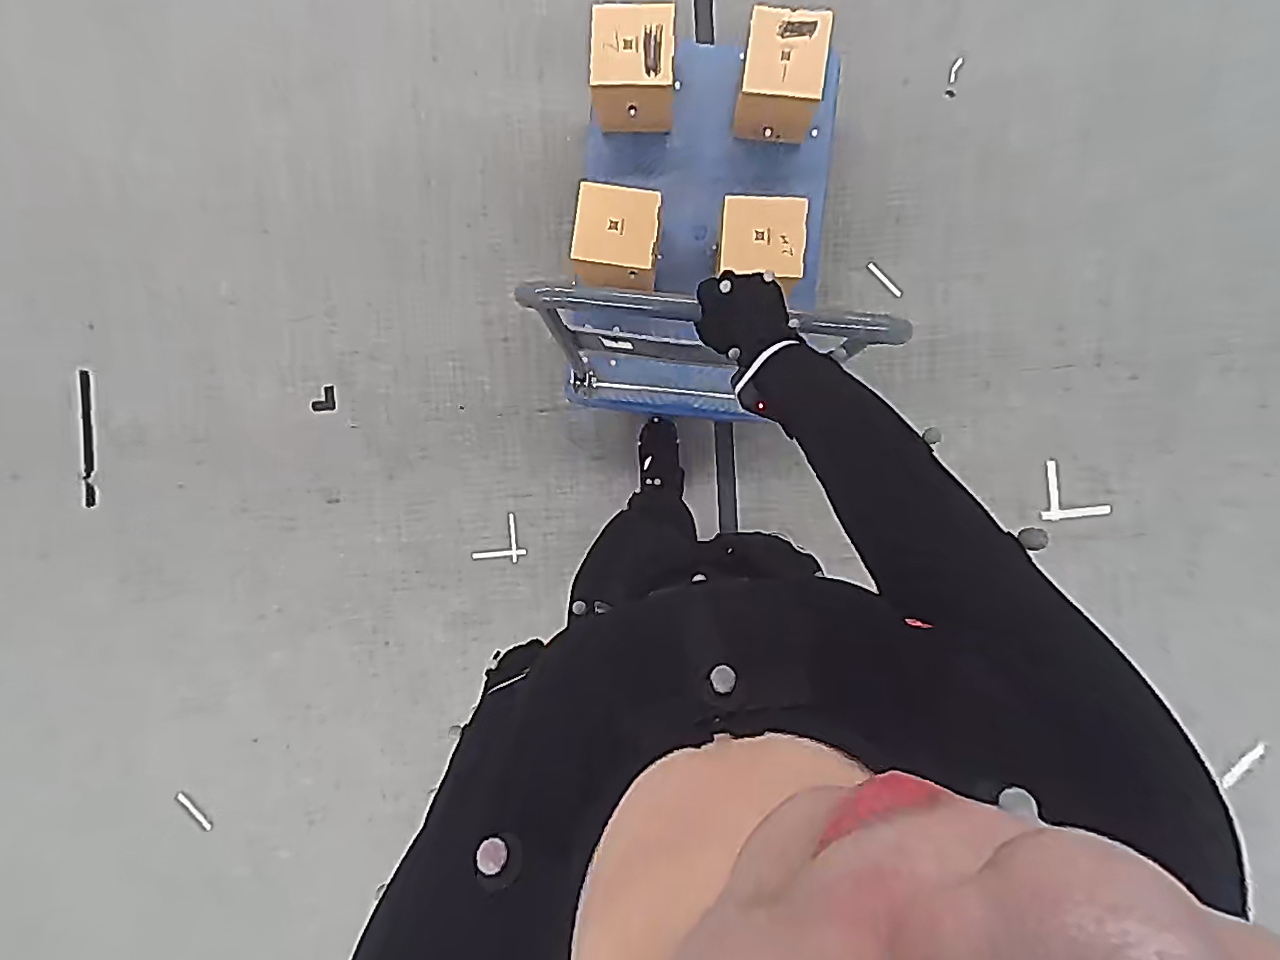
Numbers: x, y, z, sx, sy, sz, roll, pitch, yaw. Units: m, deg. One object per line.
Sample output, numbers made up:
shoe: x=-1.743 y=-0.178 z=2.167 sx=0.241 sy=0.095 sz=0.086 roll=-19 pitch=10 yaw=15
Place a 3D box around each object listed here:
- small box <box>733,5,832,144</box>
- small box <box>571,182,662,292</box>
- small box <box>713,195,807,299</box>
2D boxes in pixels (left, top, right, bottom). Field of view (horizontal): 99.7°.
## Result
small box: x=0.304 y=-0.881 z=1.188 sx=0.168 sy=0.176 sz=0.179 roll=7 pitch=94 yaw=3
small box: x=-0.049 y=-0.538 z=1.217 sx=0.179 sy=0.176 sz=0.168 roll=8 pitch=92 yaw=1
small box: x=0.259 y=-0.510 z=1.205 sx=0.179 sy=0.176 sz=0.168 roll=4 pitch=93 yaw=2
